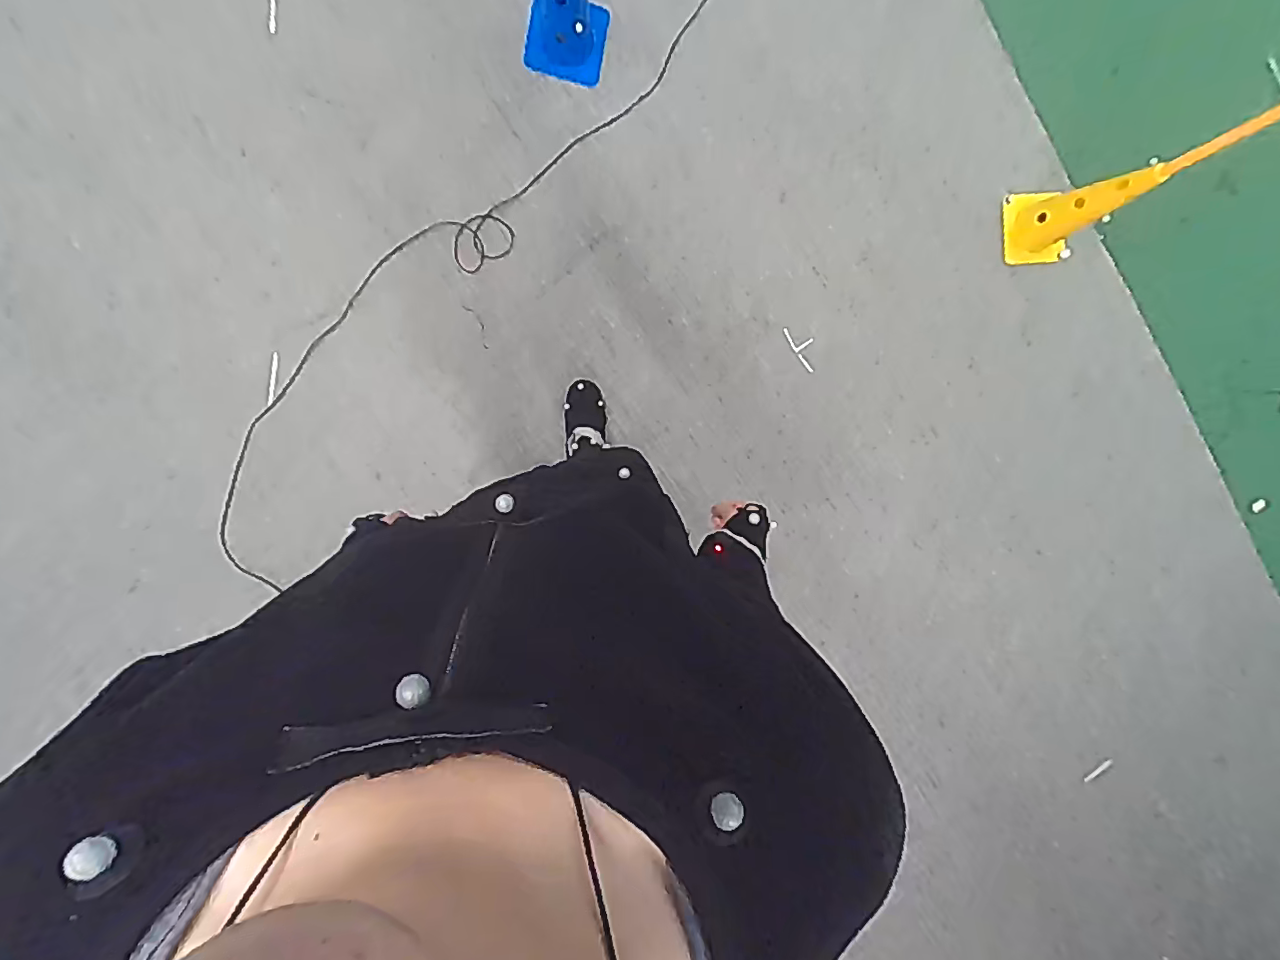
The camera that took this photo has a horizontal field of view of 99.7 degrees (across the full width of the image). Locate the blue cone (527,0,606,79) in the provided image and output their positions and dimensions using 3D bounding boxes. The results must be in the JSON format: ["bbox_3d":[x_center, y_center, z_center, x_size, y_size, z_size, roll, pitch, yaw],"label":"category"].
[{"bbox_3d":[-0.173,-1.121,1.221,0.193,0.380,0.192,10,94,-6],"label":"blue cone"}]
